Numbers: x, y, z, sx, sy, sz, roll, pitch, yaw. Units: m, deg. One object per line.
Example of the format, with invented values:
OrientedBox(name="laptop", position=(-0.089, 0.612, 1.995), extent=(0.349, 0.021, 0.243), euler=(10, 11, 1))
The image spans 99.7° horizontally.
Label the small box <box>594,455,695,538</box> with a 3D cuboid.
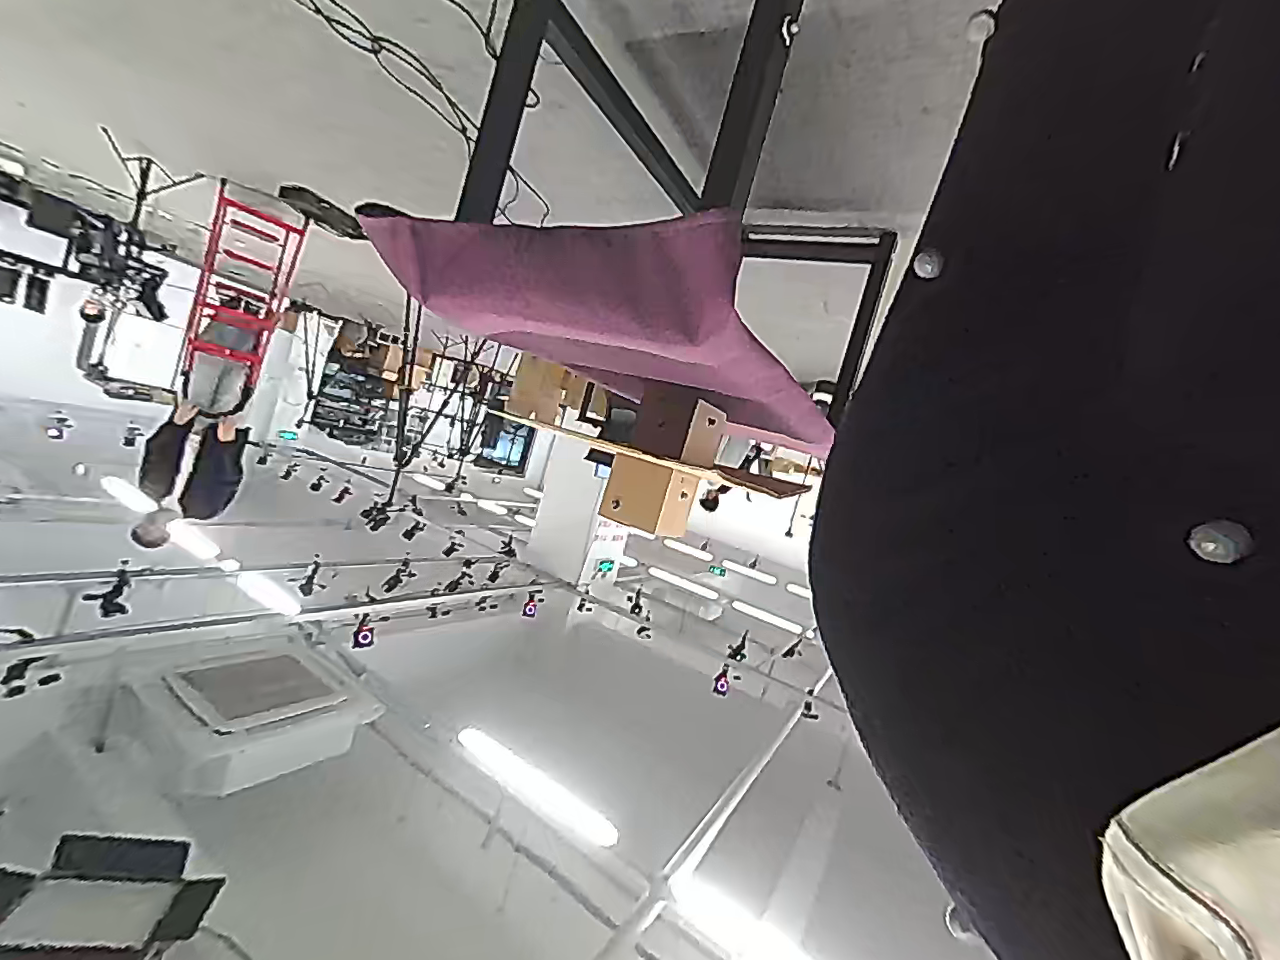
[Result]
OrientedBox(name="small box", position=(0.016, 0.038, 1.386), extent=(0.179, 0.176, 0.168), euler=(17, -179, 30))
